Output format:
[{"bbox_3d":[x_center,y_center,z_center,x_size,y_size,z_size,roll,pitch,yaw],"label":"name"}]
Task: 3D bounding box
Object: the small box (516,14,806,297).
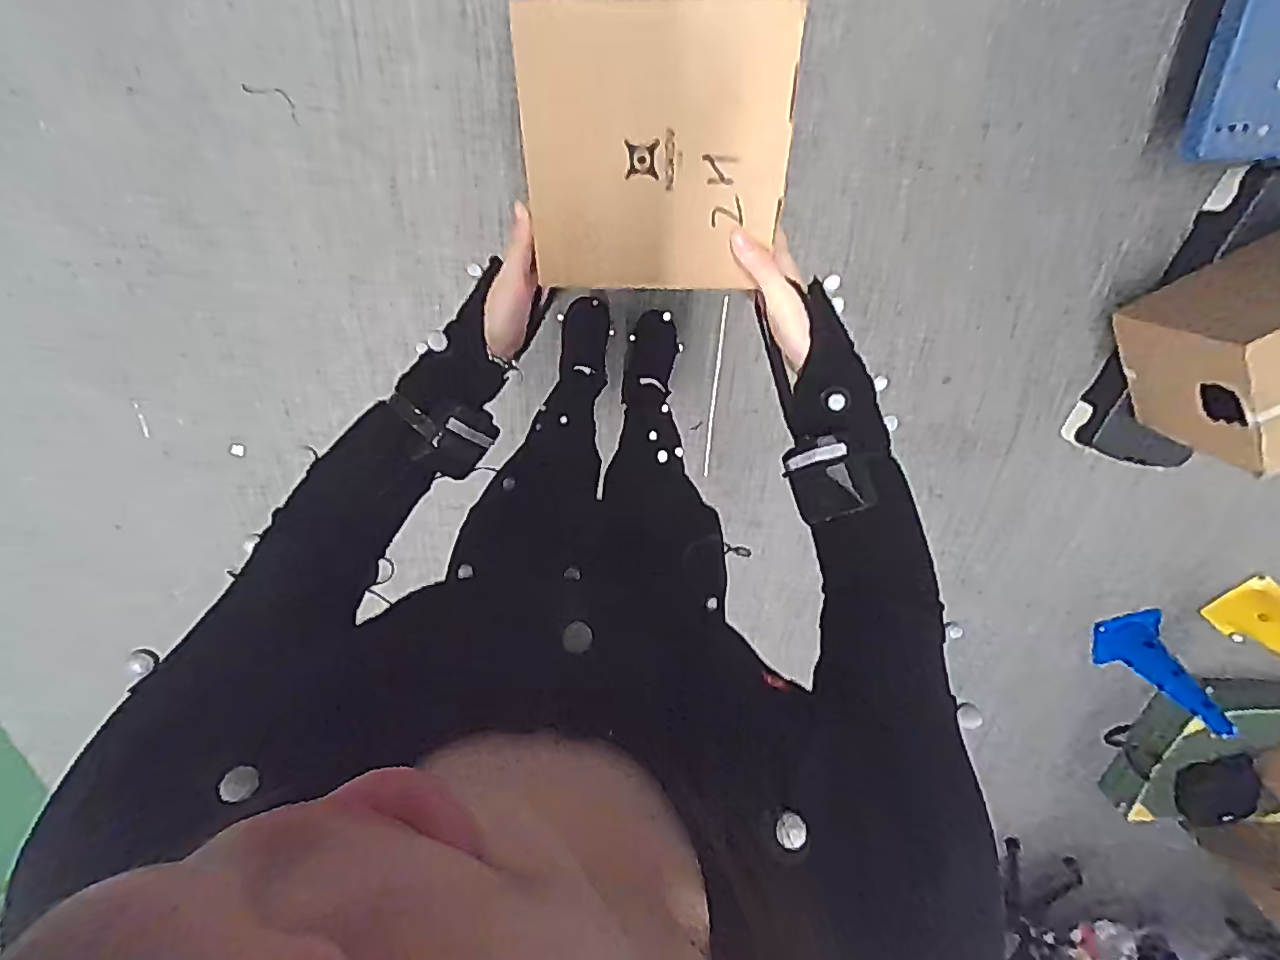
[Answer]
[{"bbox_3d":[0.014,-0.255,0.431,0.179,0.176,0.168,1,127,1],"label":"small box"}]
